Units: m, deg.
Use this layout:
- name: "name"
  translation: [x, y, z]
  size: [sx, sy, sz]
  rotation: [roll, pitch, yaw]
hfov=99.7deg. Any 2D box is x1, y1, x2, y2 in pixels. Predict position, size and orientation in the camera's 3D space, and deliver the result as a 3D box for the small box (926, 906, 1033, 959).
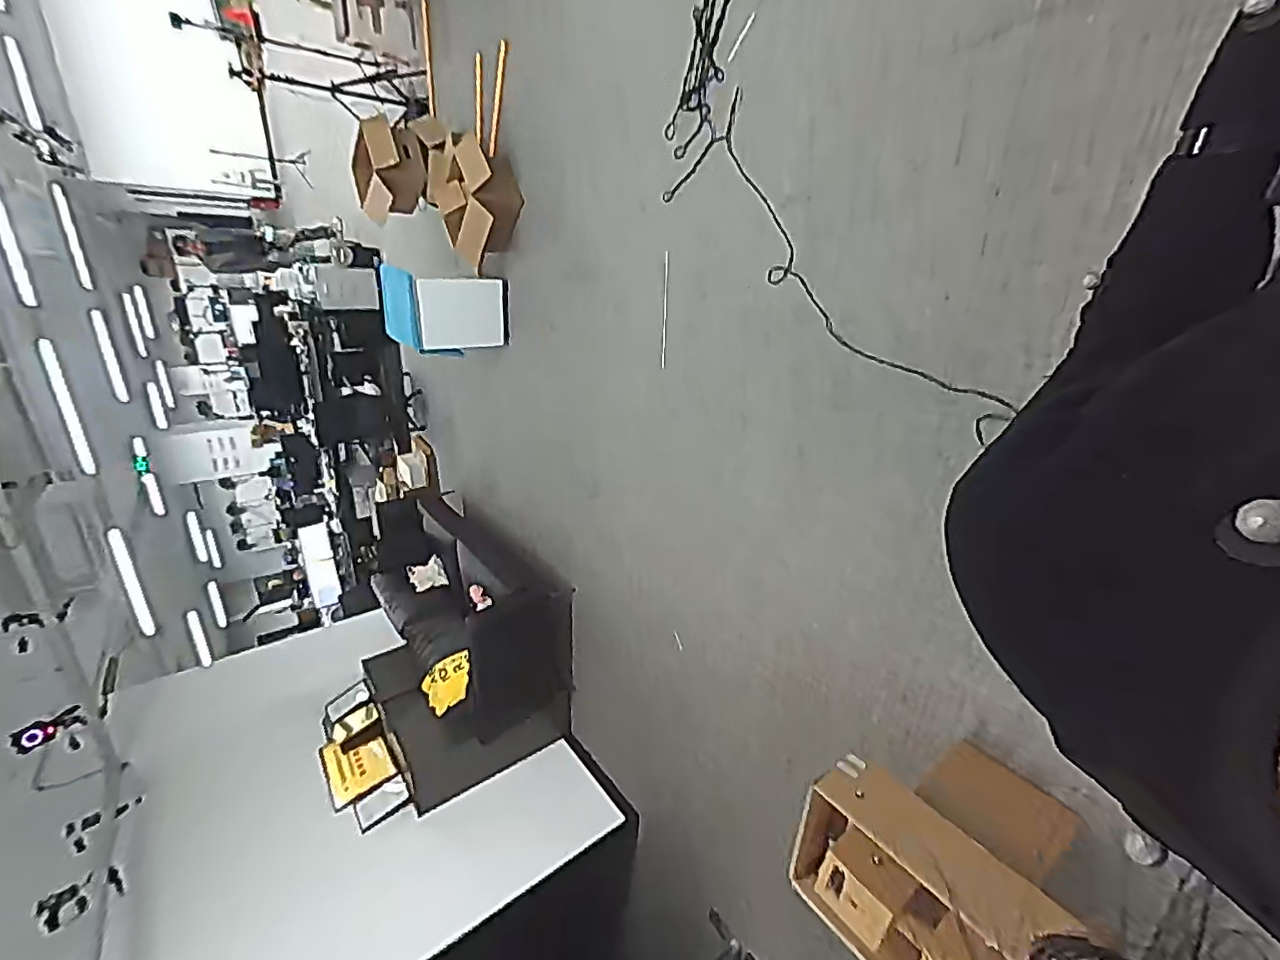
- name: "small box"
  translation: [0.725, 1.085, 1.158]
  size: [0.168, 0.176, 0.179]
  rotation: [24, 119, 49]
